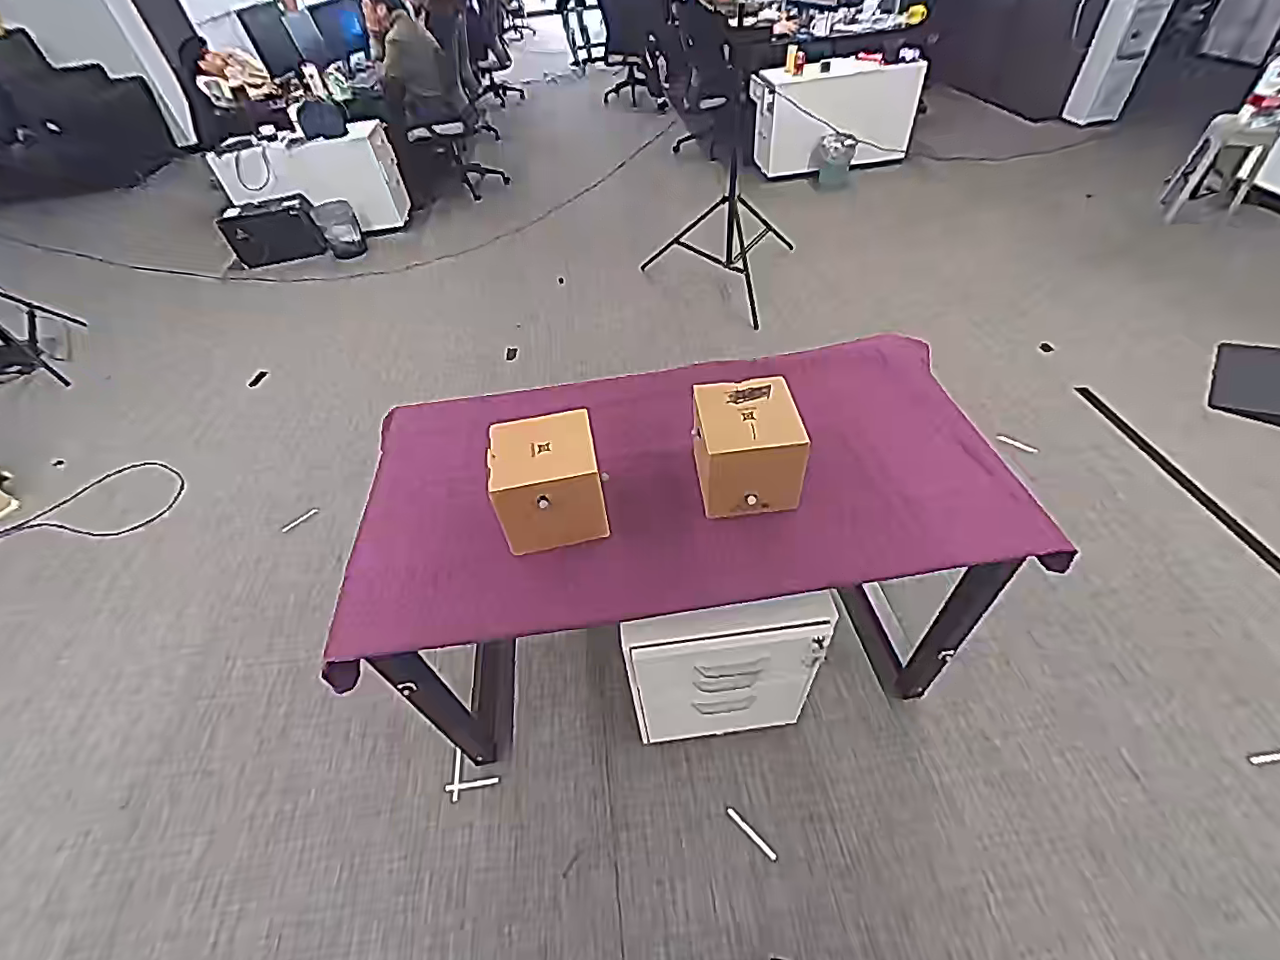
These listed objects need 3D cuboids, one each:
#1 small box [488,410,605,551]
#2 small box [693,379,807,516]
[{"bbox_3d":[-0.160,0.003,0.960,0.179,0.176,0.168,-11,47,-3],"label":"small box"},{"bbox_3d":[0.186,-0.057,0.976,0.168,0.176,0.179,-6,48,1],"label":"small box"}]
